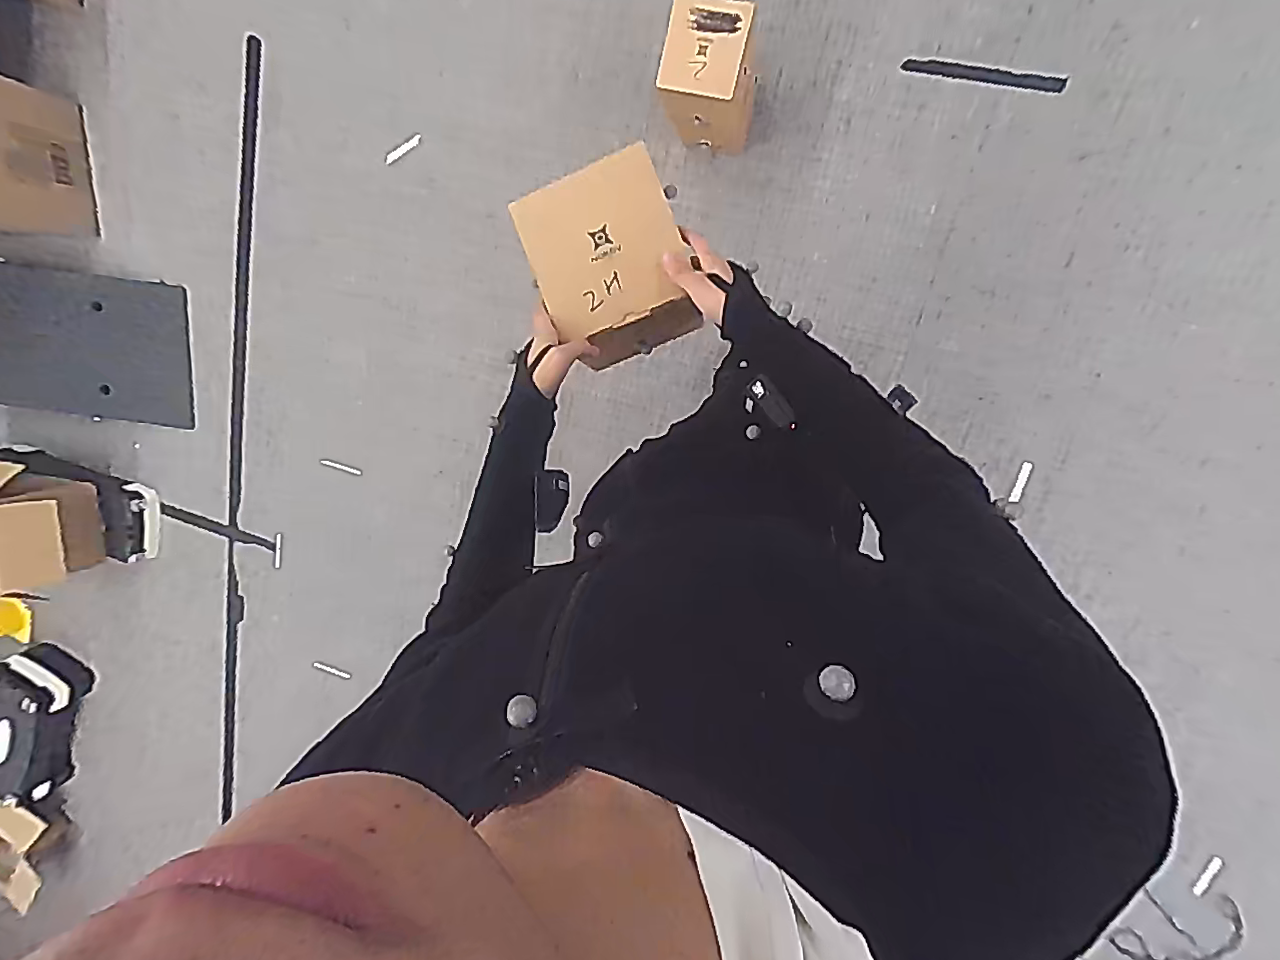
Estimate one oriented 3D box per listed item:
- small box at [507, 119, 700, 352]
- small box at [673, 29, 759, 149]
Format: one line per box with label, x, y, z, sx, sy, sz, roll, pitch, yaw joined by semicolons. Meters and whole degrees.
small box;-0.033;-0.276;0.656;0.168;0.176;0.179;-21;91;8
small box;0.187;-0.943;1.316;0.168;0.176;0.179;14;104;9
